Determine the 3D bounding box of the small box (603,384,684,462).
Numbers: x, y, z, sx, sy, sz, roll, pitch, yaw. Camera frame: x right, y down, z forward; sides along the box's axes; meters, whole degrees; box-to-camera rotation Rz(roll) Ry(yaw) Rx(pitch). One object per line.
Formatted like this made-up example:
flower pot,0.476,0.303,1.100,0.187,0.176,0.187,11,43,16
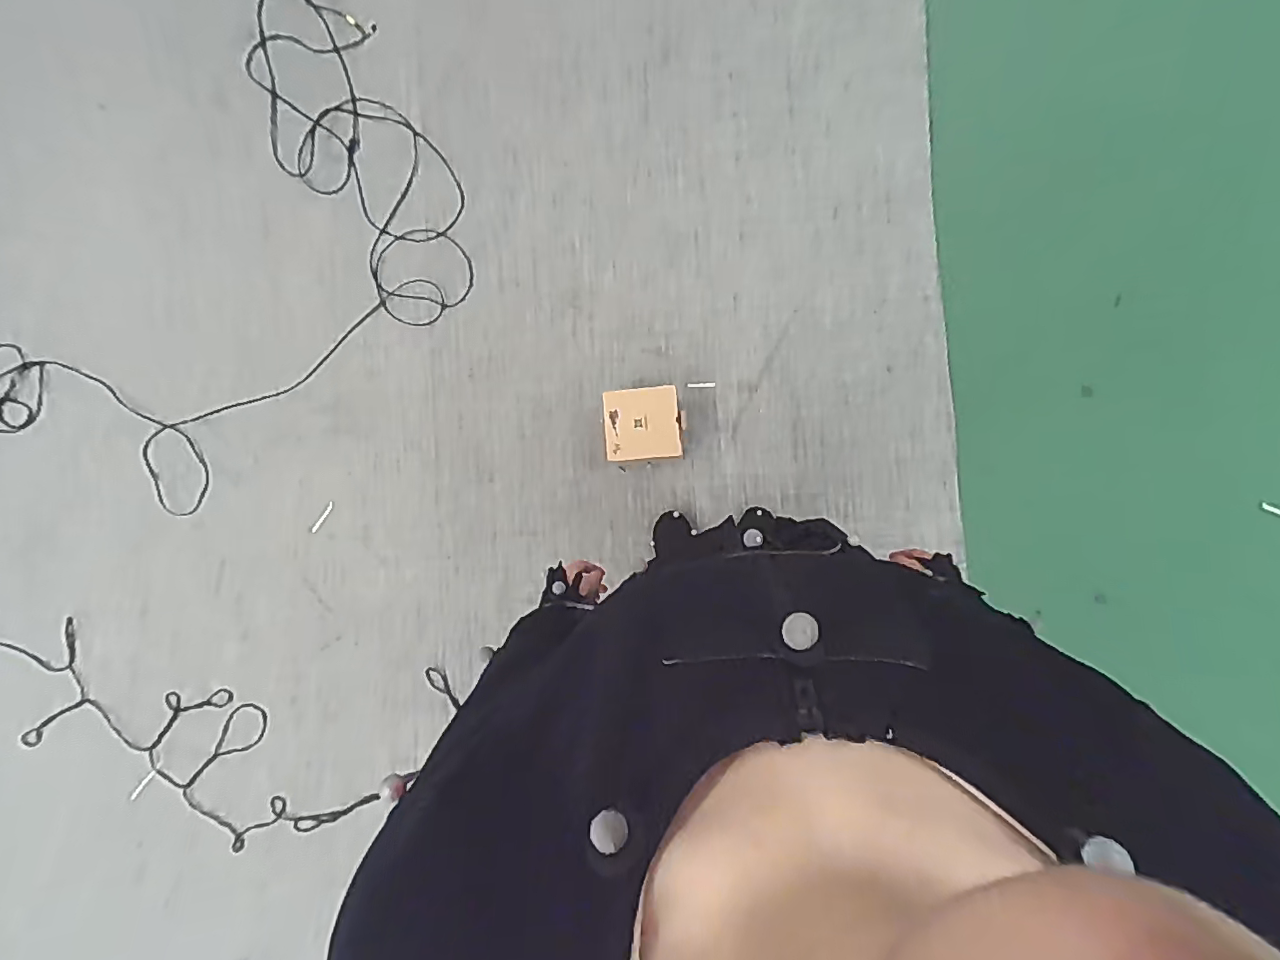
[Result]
small box,0.013,-0.134,1.323,0.179,0.176,0.168,-5,88,5
